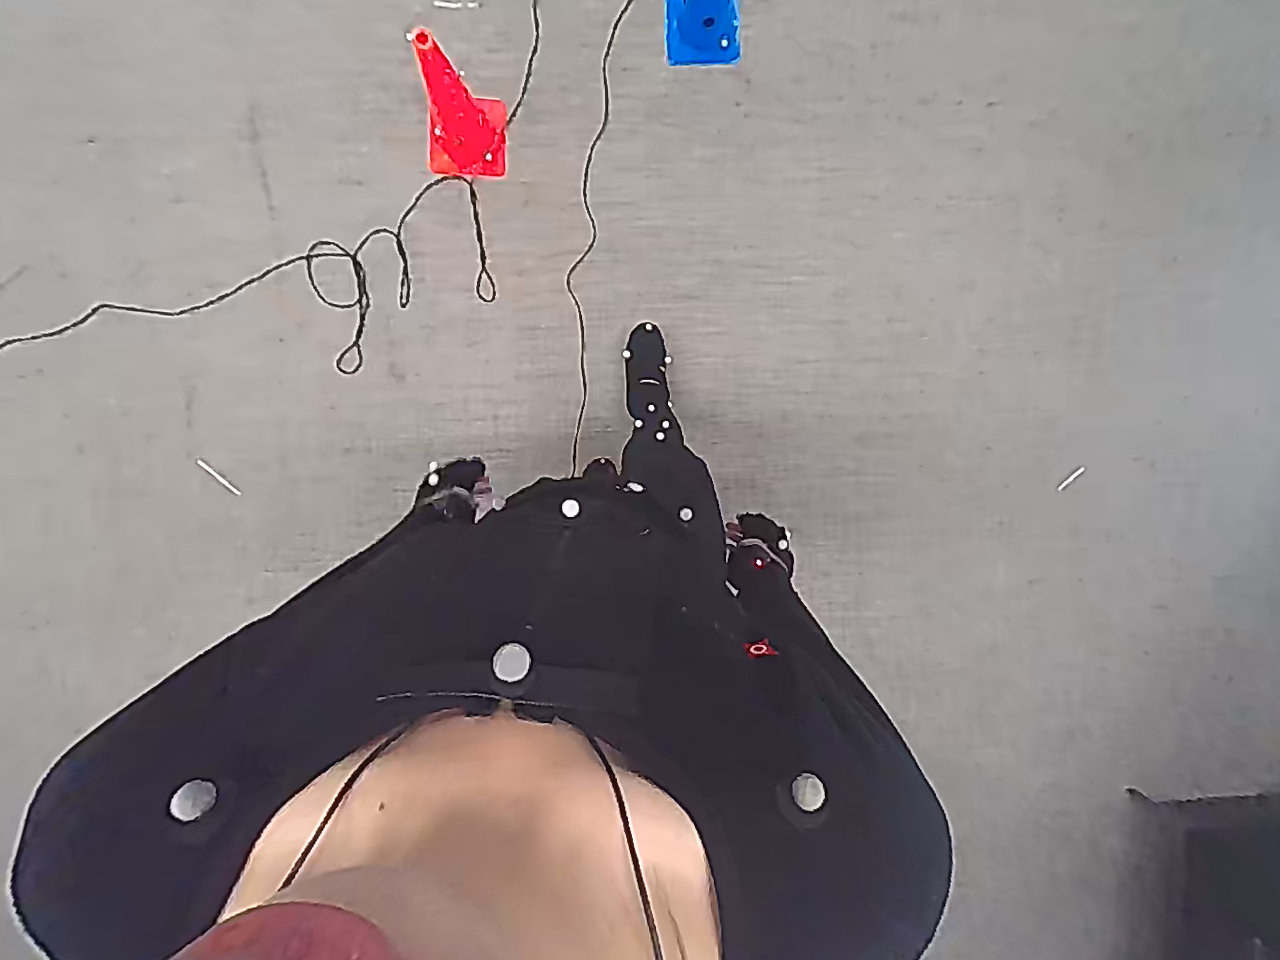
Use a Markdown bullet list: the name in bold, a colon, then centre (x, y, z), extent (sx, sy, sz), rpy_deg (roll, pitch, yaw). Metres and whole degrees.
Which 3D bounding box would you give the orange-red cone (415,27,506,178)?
- **orange-red cone**: centre (-0.443, -0.892, 1.246), extent (0.198, 0.360, 0.199), rpy_deg (3, 92, -4)
